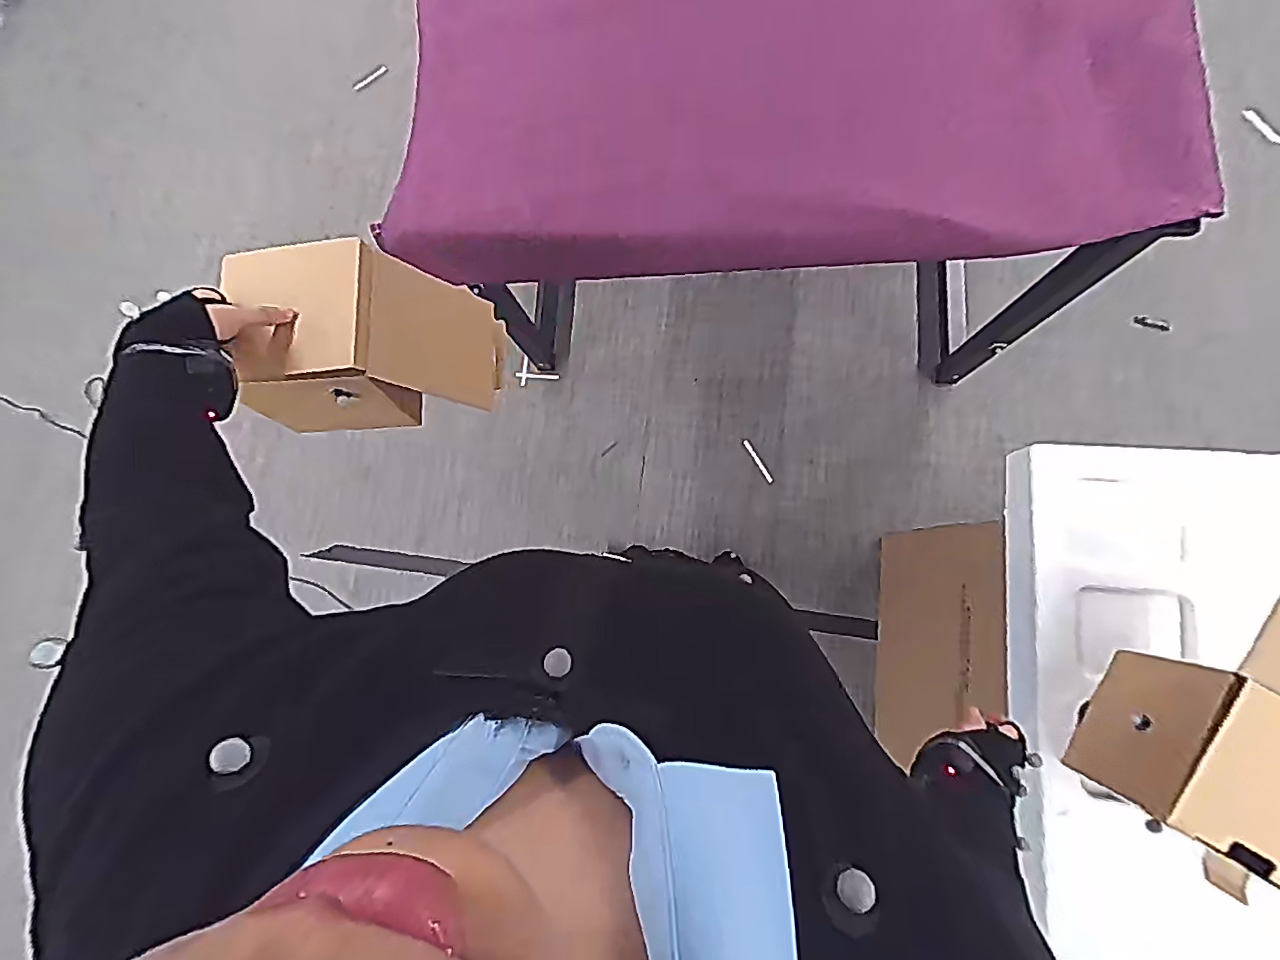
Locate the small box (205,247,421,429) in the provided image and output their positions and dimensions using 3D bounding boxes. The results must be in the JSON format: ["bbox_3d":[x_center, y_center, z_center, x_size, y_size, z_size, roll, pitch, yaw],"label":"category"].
[{"bbox_3d":[-0.395,-0.171,0.689,0.179,0.176,0.168,-4,76,-1],"label":"small box"}]
